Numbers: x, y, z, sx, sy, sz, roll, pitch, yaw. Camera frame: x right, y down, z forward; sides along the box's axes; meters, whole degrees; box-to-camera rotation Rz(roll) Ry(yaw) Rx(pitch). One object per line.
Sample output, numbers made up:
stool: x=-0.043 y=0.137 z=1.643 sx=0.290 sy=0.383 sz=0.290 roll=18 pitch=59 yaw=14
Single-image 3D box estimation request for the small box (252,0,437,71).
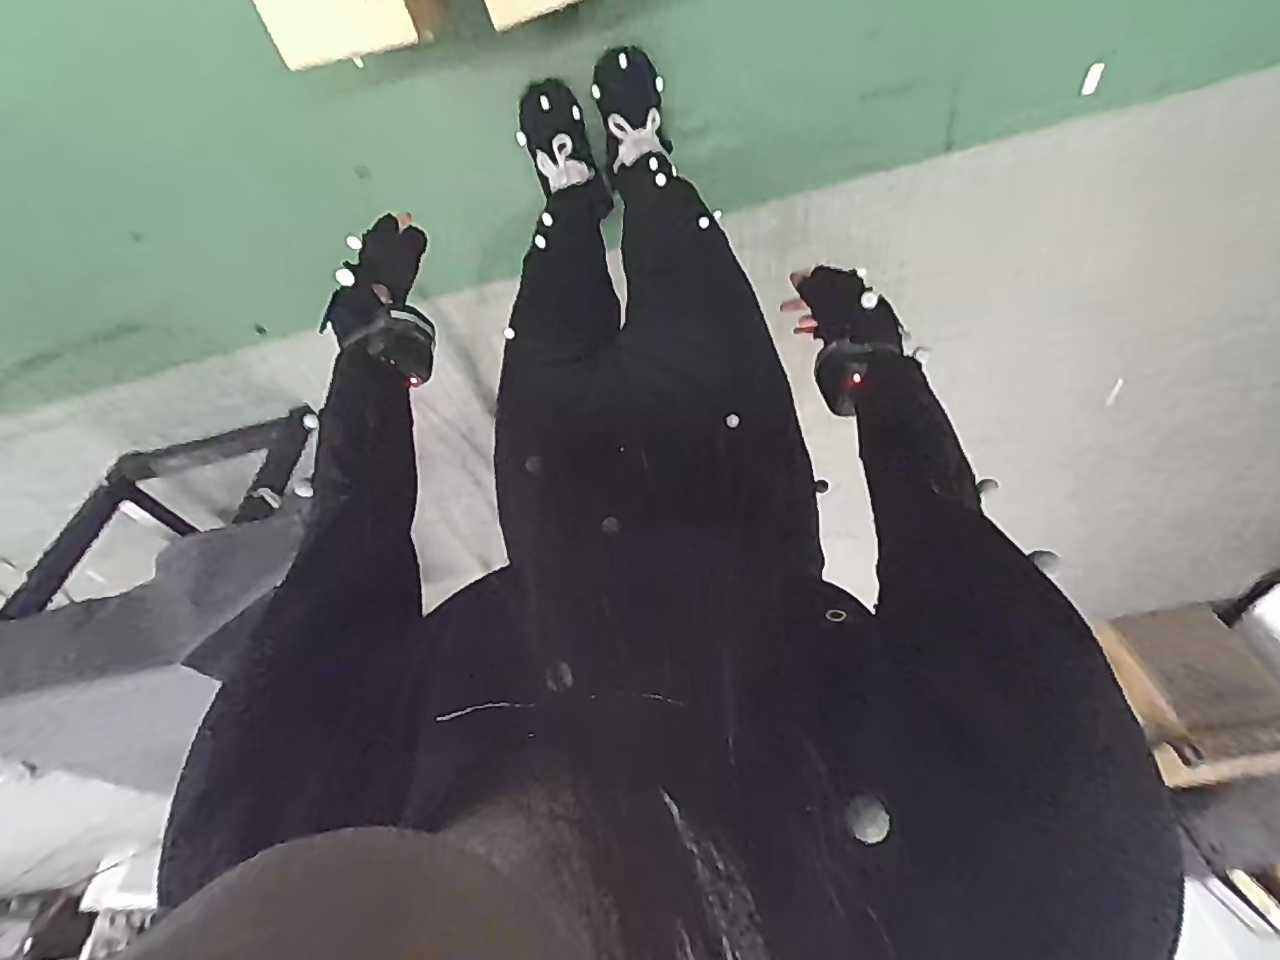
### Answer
small box: x=-0.383 y=-0.645 z=0.685 sx=0.179 sy=0.176 sz=0.168 roll=-10 pitch=136 yaw=2
